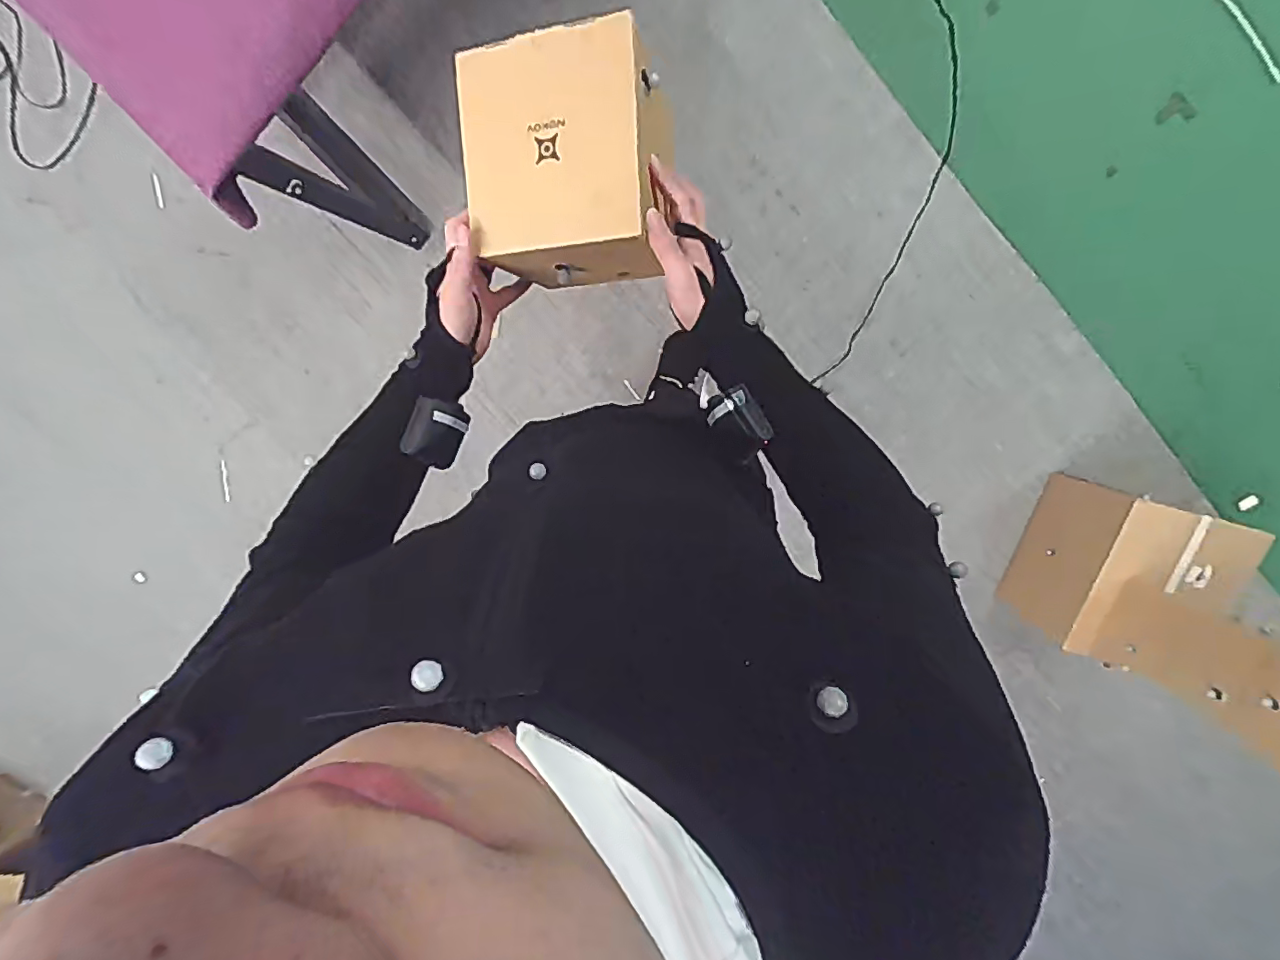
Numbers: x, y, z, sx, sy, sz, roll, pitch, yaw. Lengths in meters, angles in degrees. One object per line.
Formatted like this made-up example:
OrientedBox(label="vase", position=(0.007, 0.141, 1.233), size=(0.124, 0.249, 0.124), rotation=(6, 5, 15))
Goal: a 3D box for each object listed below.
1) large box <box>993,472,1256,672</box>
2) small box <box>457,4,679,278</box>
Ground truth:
OrientedBox(label="large box", position=(1.221, 0.229, 1.417), size=(0.320, 0.320, 0.408), rotation=(15, 102, 1))
OrientedBox(label="small box", position=(-0.058, -0.309, 0.543), size=(0.168, 0.176, 0.179), rotation=(-1, 98, 16))
